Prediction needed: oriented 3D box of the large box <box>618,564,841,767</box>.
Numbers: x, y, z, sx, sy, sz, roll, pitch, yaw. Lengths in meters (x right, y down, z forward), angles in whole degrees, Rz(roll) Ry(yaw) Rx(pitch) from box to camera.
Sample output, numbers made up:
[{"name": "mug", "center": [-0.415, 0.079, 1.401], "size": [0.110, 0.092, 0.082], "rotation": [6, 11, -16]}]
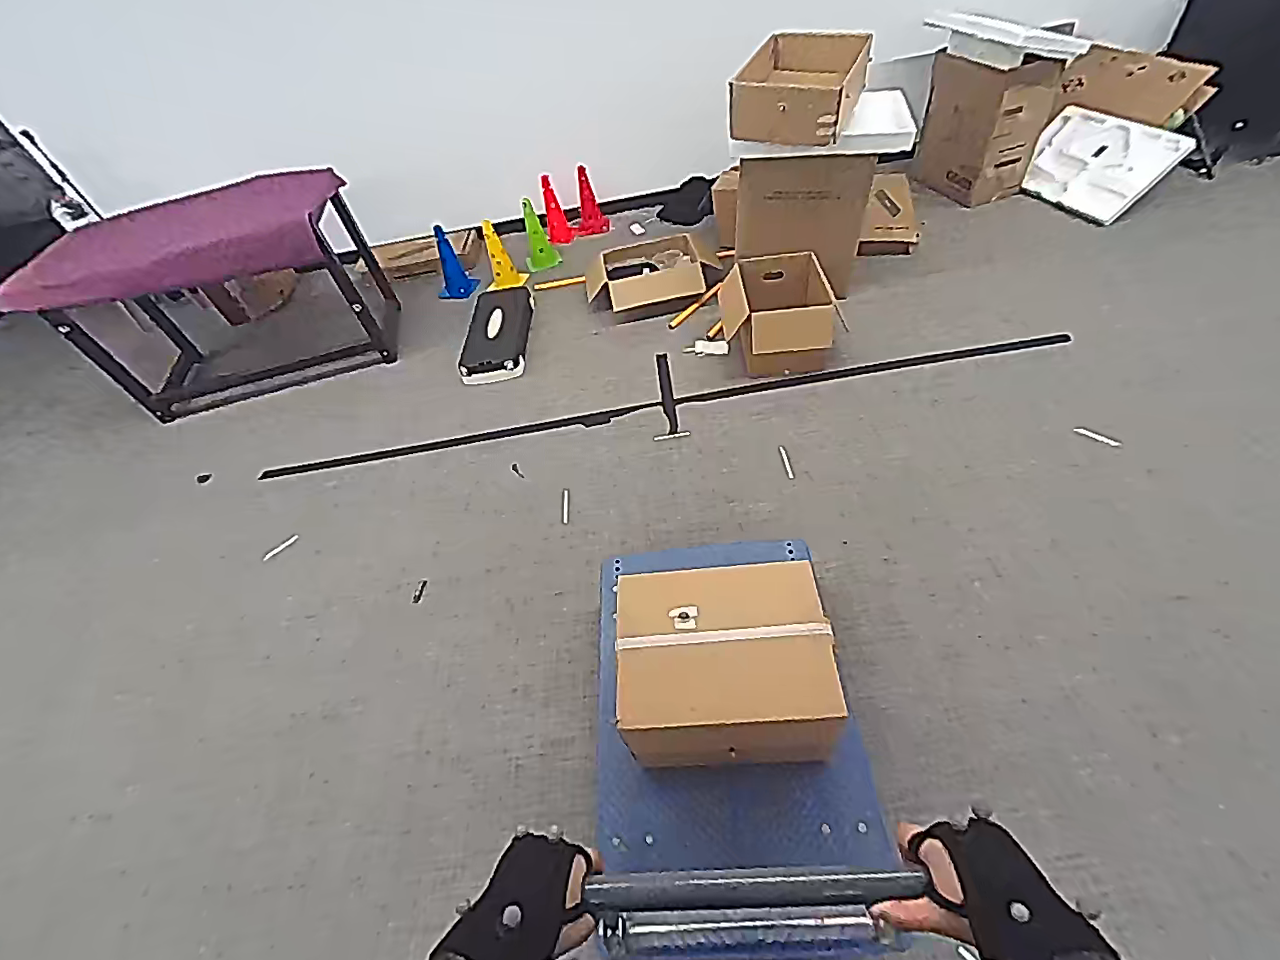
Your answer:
[{"name": "large box", "center": [0.178, 0.411, 1.172], "size": [0.408, 0.320, 0.320], "rotation": [-7, 49, 6]}]
